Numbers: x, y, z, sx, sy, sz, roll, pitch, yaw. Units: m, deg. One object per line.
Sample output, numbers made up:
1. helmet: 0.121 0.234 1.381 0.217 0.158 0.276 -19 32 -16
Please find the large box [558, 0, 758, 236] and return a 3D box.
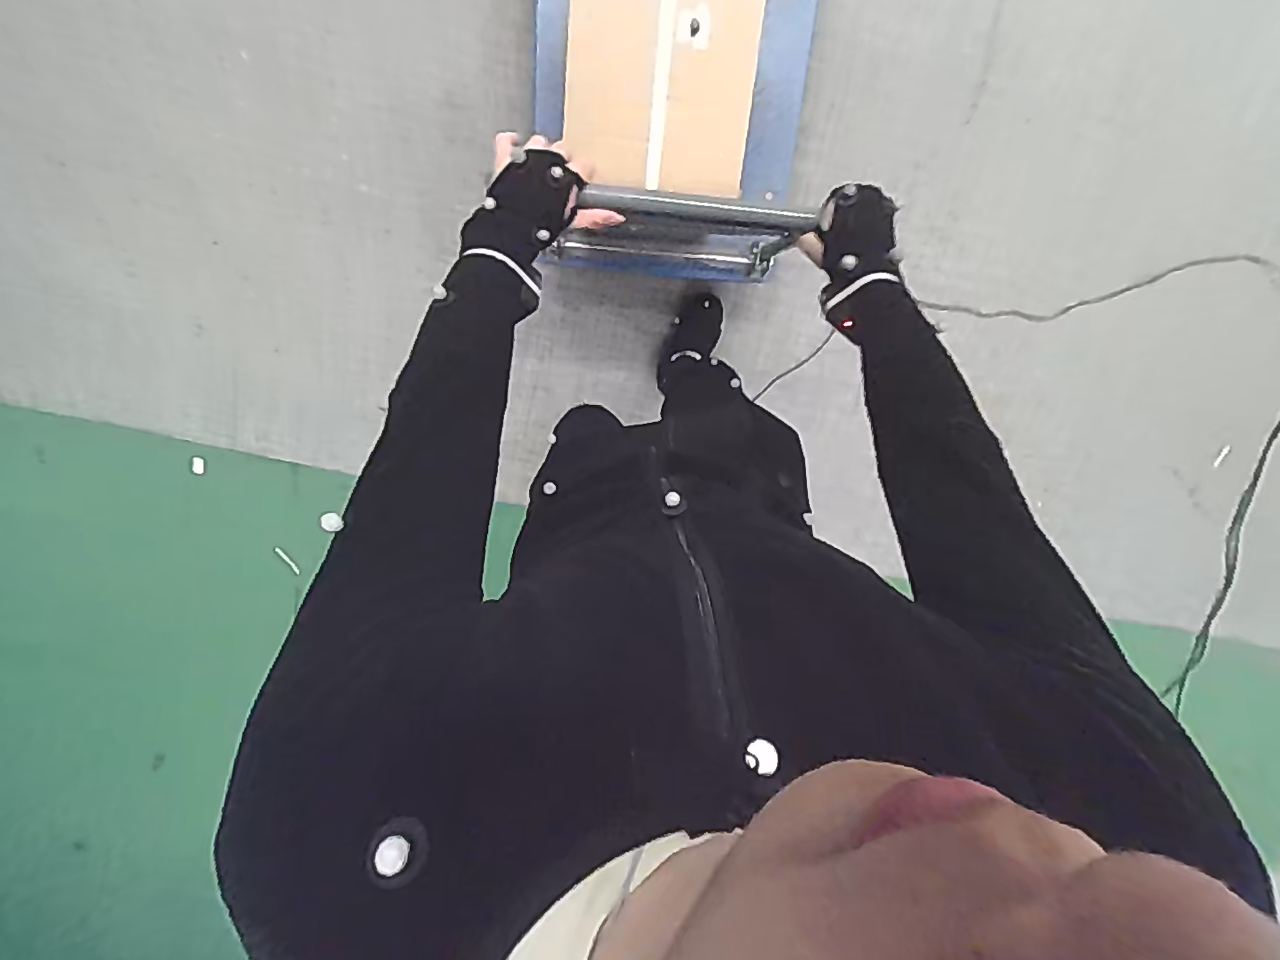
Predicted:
1. large box: 0.023 -0.714 1.041 0.320 0.320 0.408 5 108 -4
